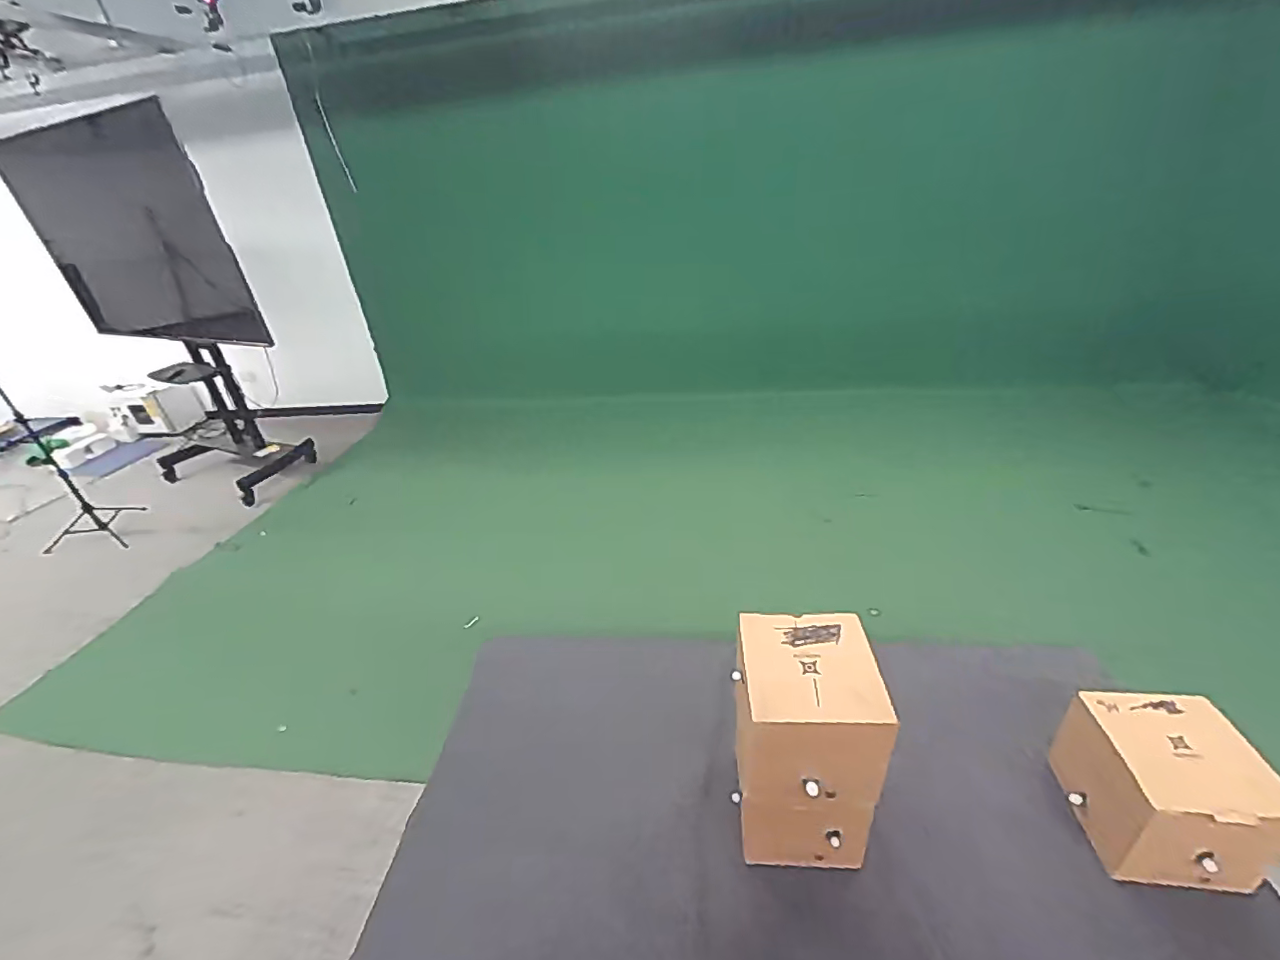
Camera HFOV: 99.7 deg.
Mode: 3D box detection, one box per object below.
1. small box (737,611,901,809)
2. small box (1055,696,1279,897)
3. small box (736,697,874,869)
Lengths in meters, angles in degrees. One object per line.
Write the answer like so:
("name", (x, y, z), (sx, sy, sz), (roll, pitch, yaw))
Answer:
("small box", (0.219, 0.296, 0.713), (0.168, 0.176, 0.179), (-1, 31, 6))
("small box", (0.711, 0.423, 0.731), (0.168, 0.176, 0.179), (0, 30, 10))
("small box", (0.229, 0.437, 0.797), (0.168, 0.176, 0.179), (-1, 29, 6))
